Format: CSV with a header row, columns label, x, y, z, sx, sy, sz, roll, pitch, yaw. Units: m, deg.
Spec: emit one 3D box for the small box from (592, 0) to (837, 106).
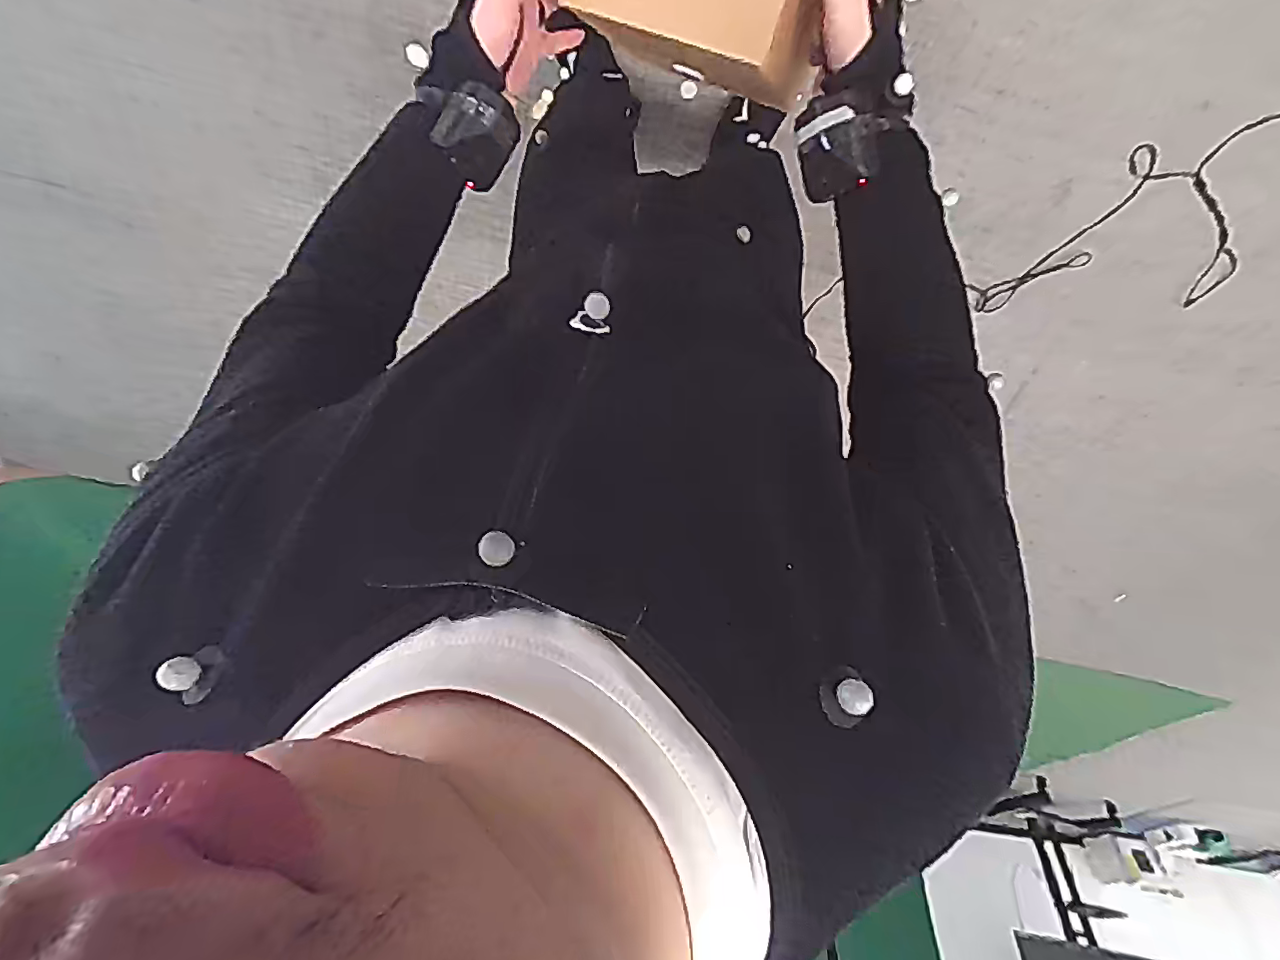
label,x,y,z,sx,sy,sz,roll,pitch,yaw
small box,0.067,-0.418,0.400,0.168,0.176,0.179,30,120,11
